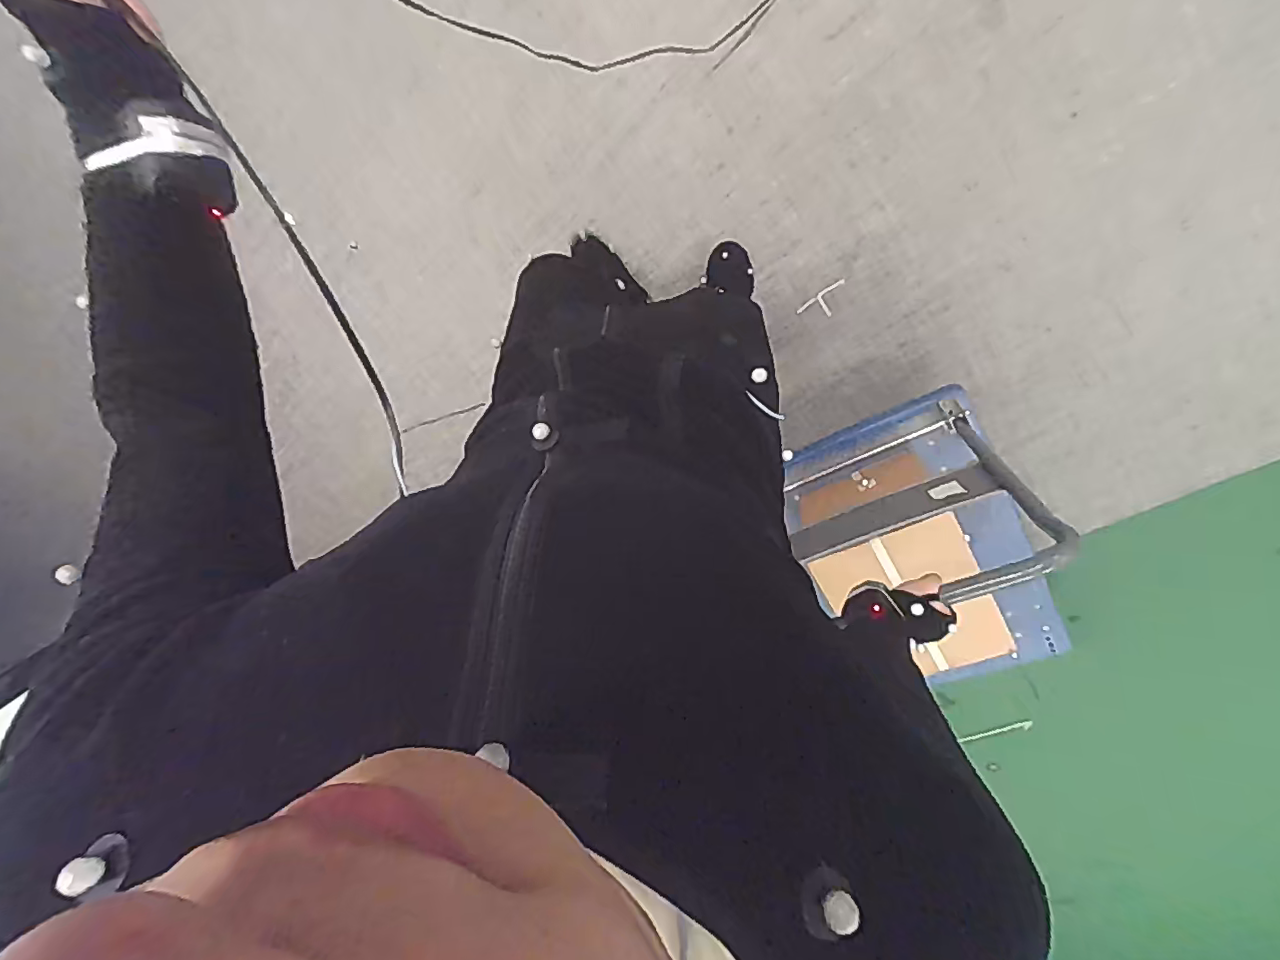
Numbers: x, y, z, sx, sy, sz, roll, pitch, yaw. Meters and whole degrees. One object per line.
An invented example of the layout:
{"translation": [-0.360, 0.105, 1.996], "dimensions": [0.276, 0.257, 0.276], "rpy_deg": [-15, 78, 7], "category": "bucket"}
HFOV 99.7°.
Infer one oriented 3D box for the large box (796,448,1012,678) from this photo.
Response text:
{"translation": [0.622, 0.198, 1.330], "dimensions": [0.320, 0.320, 0.408], "rpy_deg": [-26, 109, 24], "category": "large box"}
